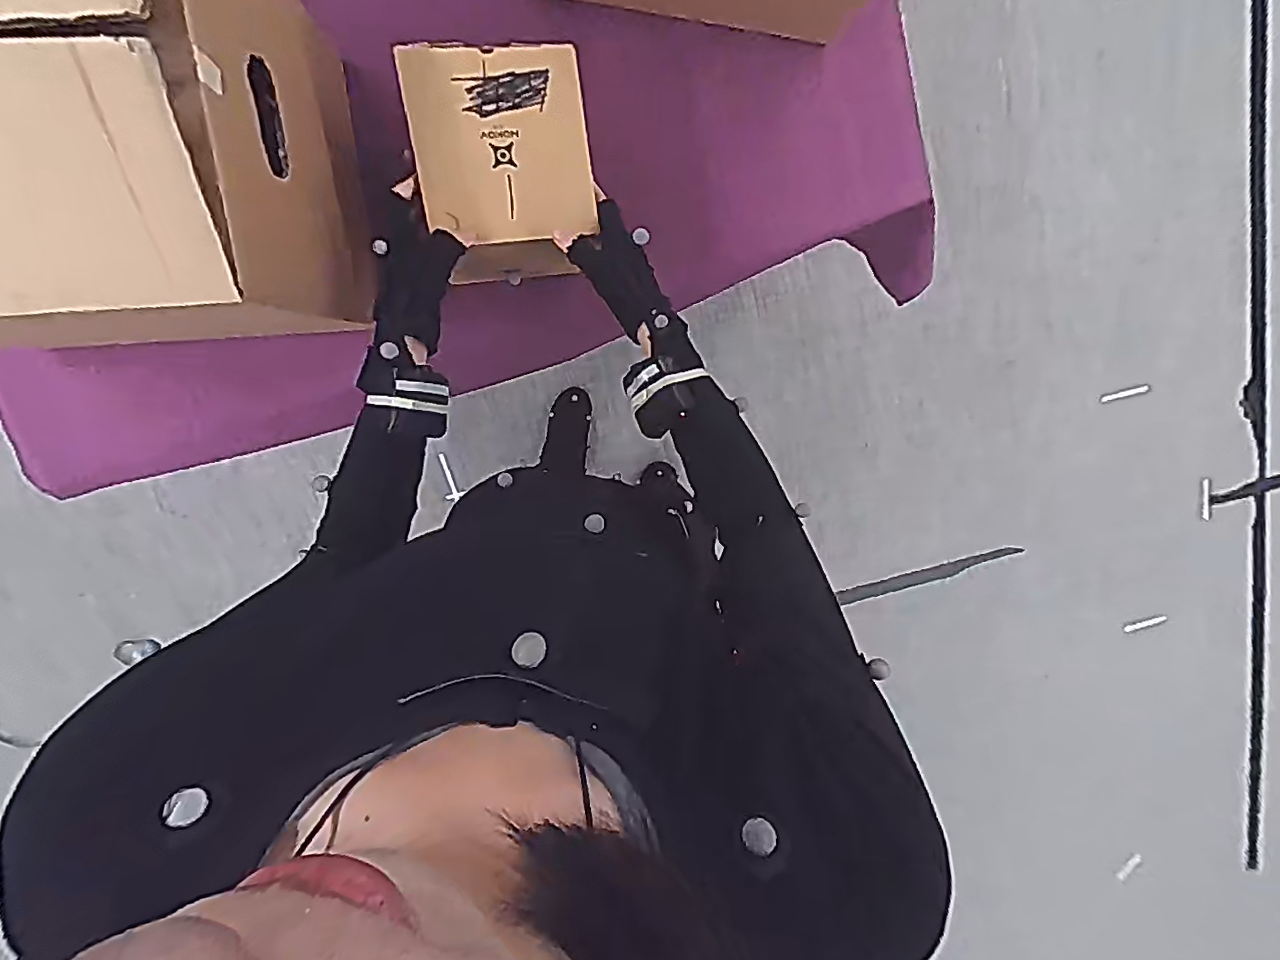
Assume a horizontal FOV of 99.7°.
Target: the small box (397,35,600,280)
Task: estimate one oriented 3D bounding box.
[{"bbox_3d":[-0.147,-0.329,0.583,0.168,0.176,0.179,-9,100,-12],"label":"small box"}]
